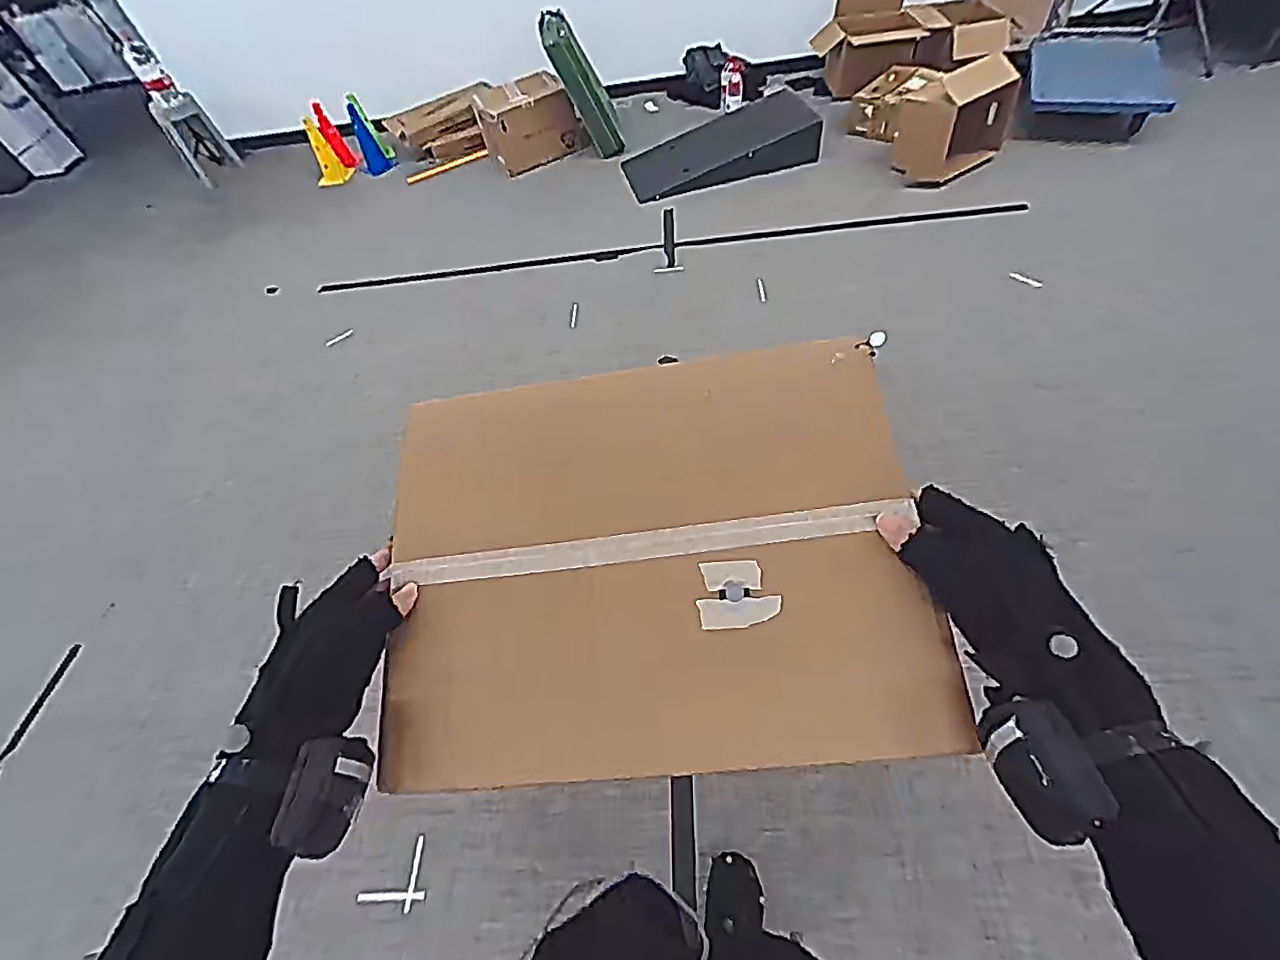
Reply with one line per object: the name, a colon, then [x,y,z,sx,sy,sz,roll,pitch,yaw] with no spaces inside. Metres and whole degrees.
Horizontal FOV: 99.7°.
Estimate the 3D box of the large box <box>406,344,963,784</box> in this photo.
large box: [0.027,0.104,0.568,0.408,0.320,0.320,-8,70,6]
